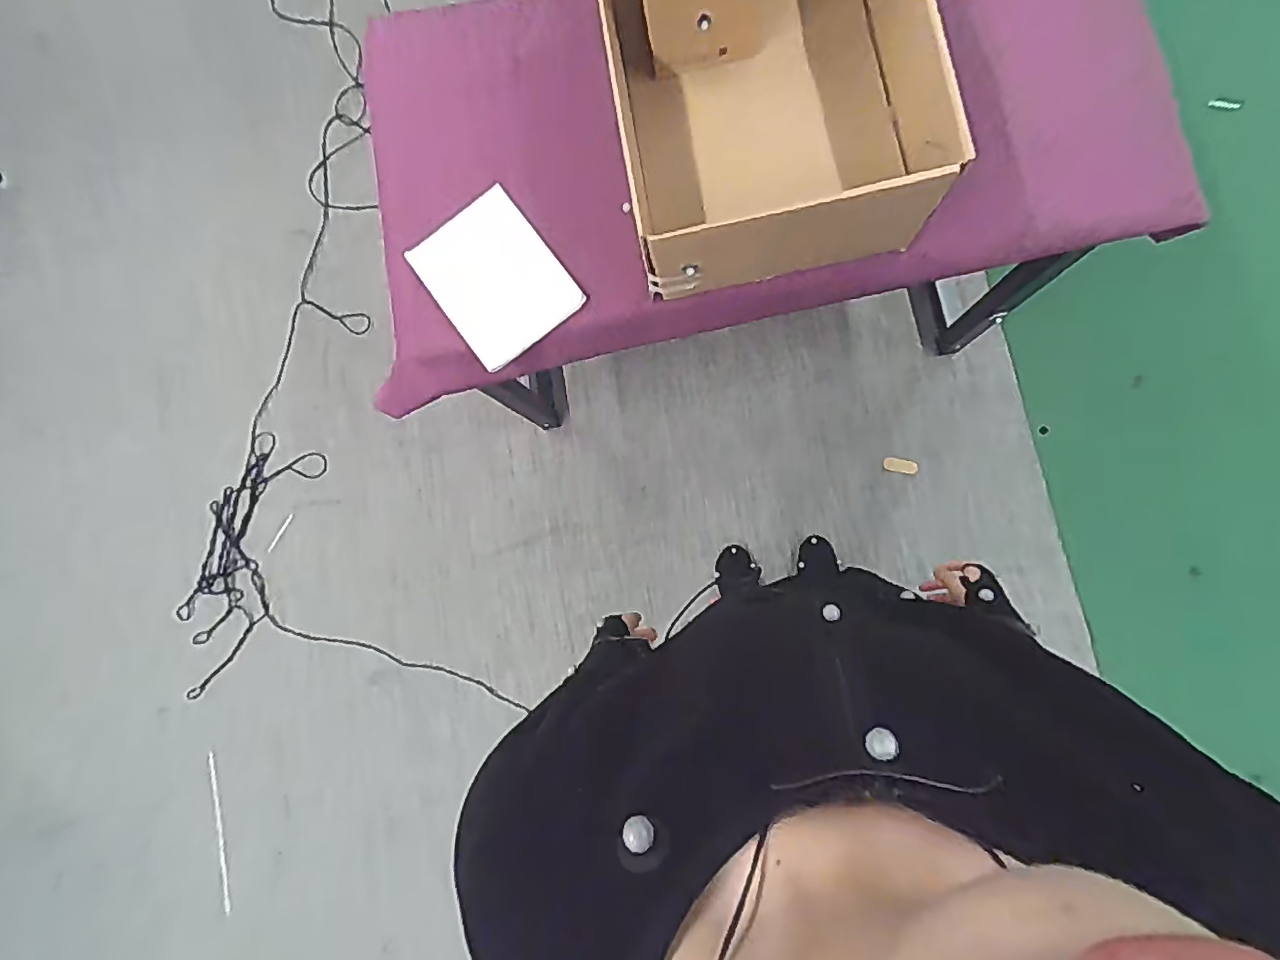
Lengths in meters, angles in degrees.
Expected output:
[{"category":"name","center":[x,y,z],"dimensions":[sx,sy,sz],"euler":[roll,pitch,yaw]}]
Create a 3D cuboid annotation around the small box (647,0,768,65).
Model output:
[{"category":"small box","center":[0.085,-0.724,0.752],"dimensions":[0.168,0.176,0.179],"euler":[-10,84,7]}]
